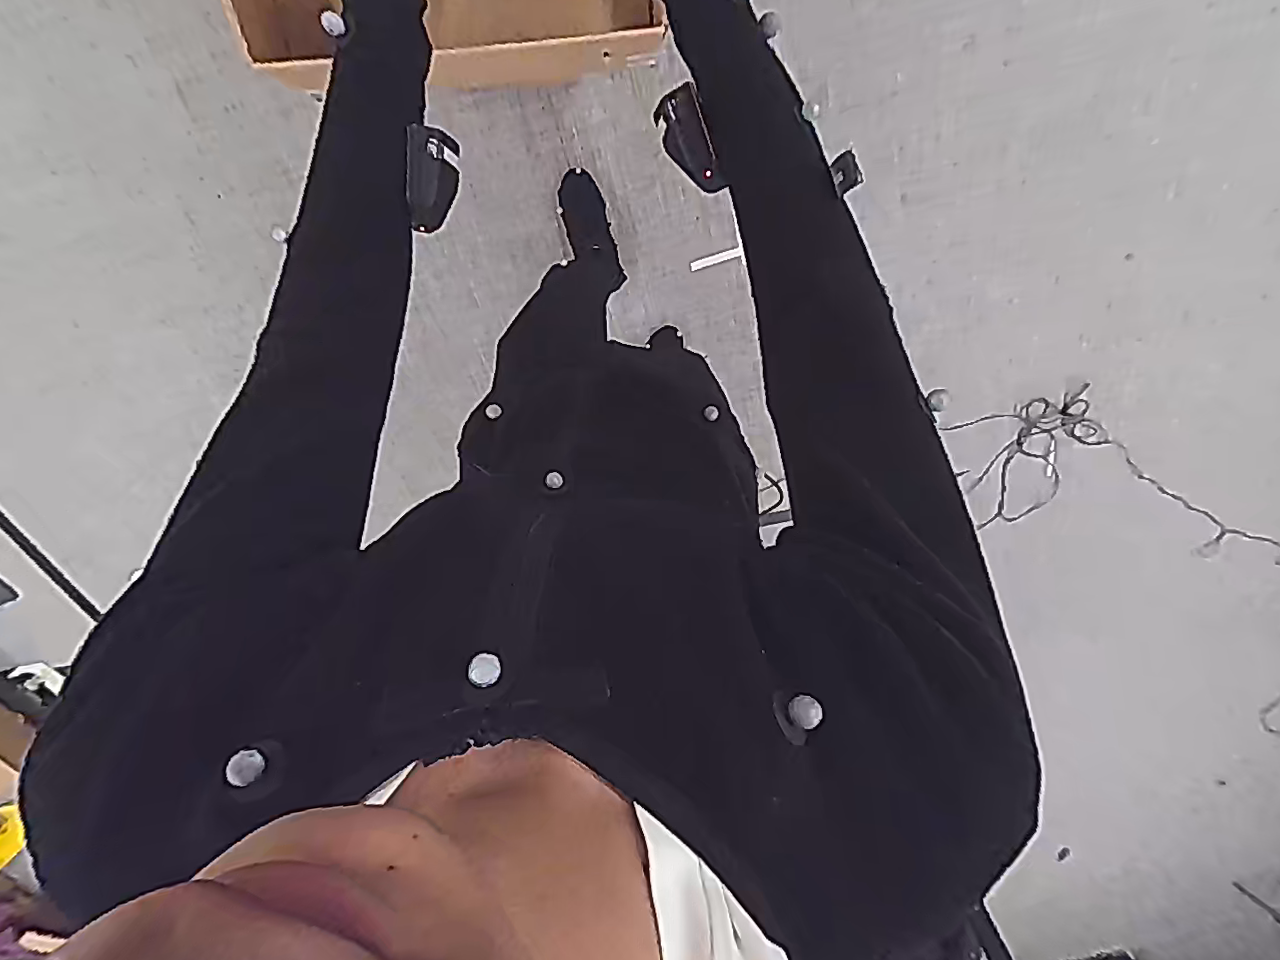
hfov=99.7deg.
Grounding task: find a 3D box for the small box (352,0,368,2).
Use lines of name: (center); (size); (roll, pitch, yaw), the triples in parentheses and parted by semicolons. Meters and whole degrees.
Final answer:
small box: (-0.386, -0.783, 0.731); (0.168, 0.176, 0.179); (-7, 118, 0)
